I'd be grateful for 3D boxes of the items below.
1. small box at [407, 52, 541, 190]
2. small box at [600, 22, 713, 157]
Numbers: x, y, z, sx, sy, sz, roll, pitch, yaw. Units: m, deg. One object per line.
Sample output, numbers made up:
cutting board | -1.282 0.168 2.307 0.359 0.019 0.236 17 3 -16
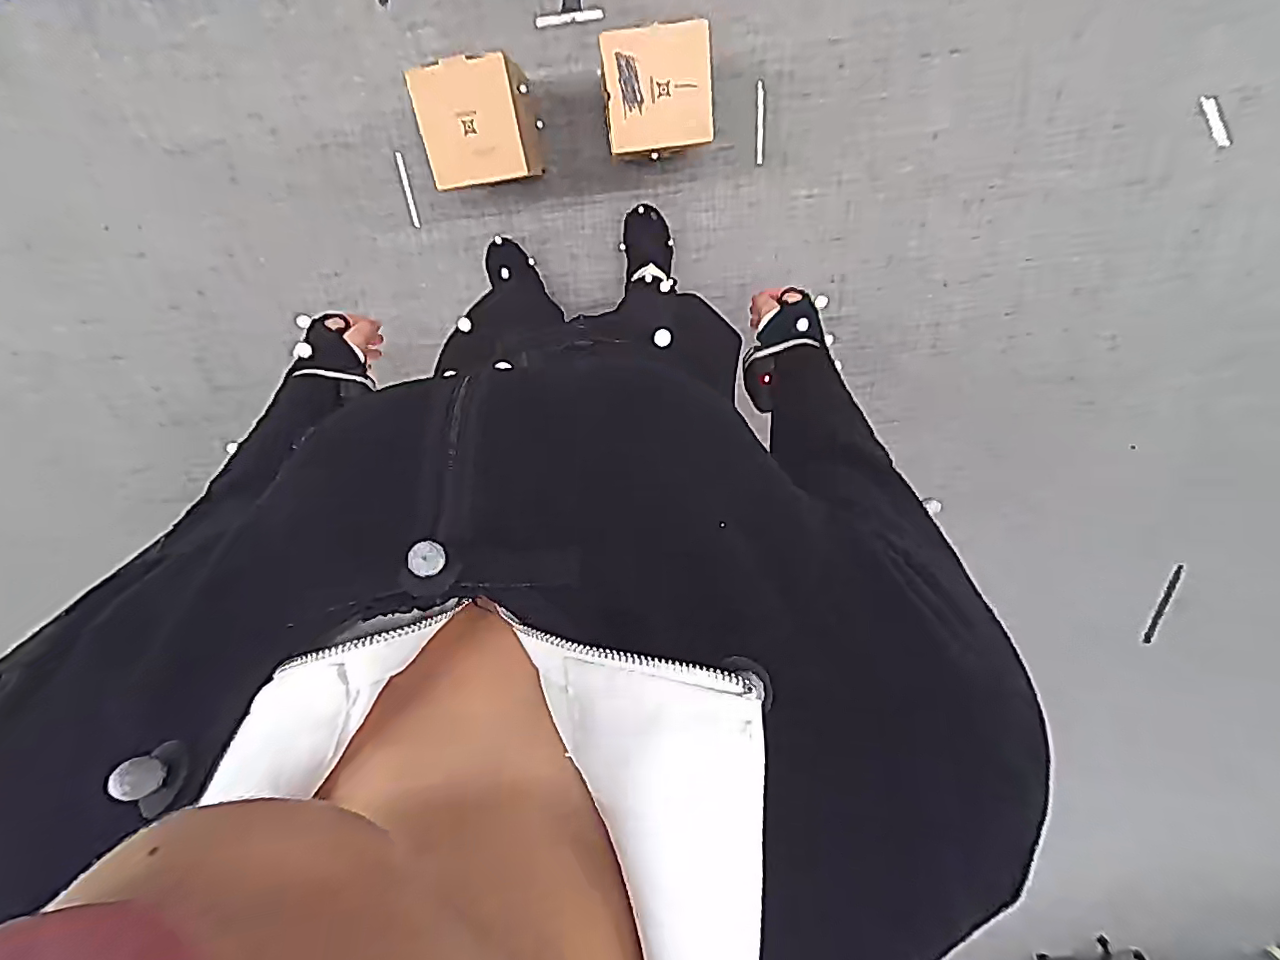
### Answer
small box | -0.284 -0.631 0.967 0.168 0.176 0.179 -7 121 4
small box | 0.028 -0.673 0.951 0.179 0.176 0.168 -6 119 1
